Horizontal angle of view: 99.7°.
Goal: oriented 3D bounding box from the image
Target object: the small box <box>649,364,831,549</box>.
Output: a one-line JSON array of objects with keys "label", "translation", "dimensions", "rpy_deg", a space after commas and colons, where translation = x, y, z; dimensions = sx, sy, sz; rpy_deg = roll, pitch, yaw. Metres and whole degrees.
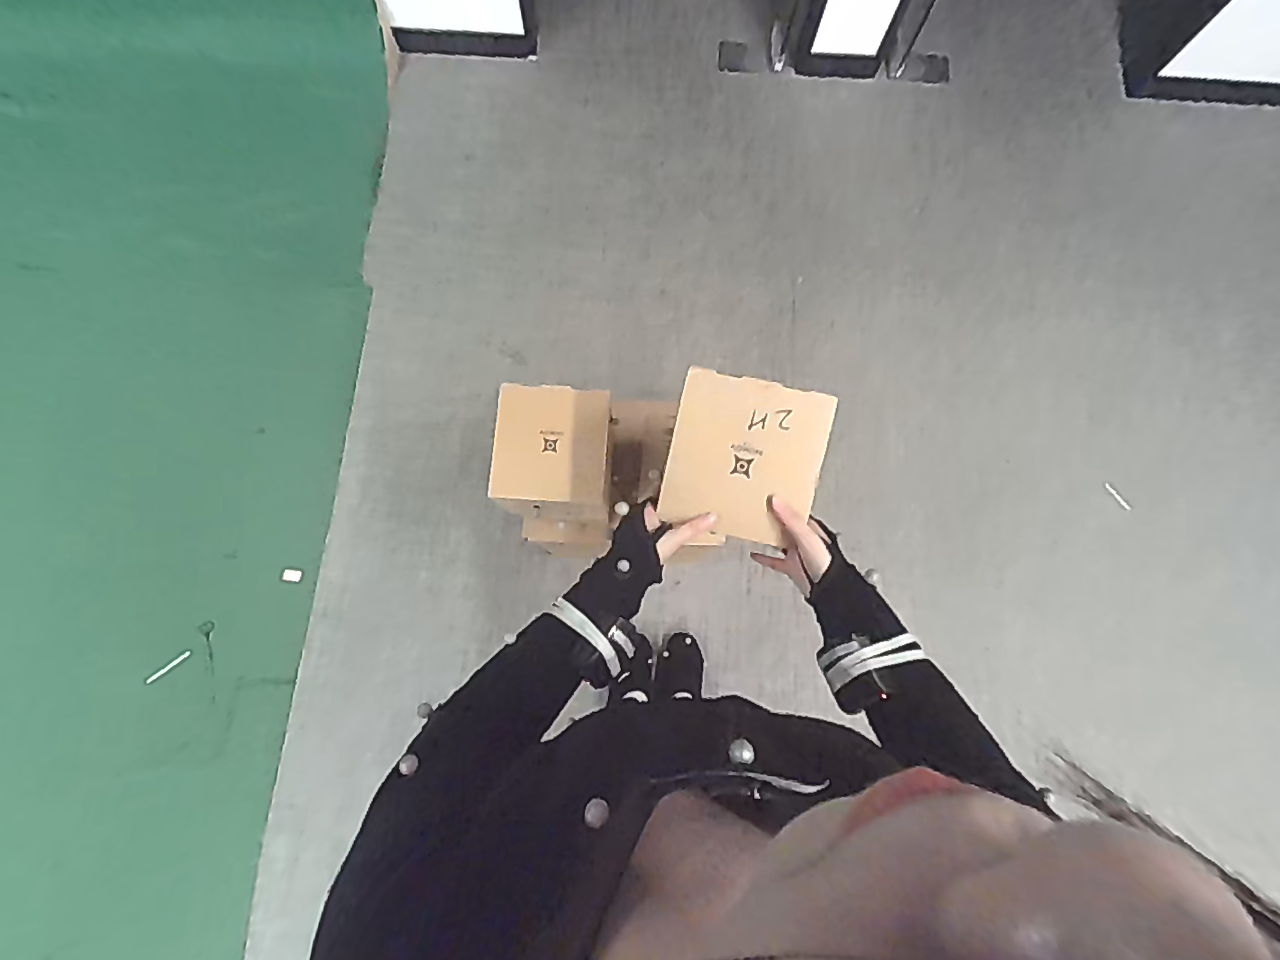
[{"label": "small box", "translation": [0.115, -0.034, 0.675], "dimensions": [0.168, 0.176, 0.179], "rpy_deg": [14, 97, 2]}]

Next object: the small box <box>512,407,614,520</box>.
[{"label": "small box", "translation": [-0.139, -0.025, 1.036], "dimensions": [0.168, 0.176, 0.179], "rpy_deg": [4, 80, -1]}]
